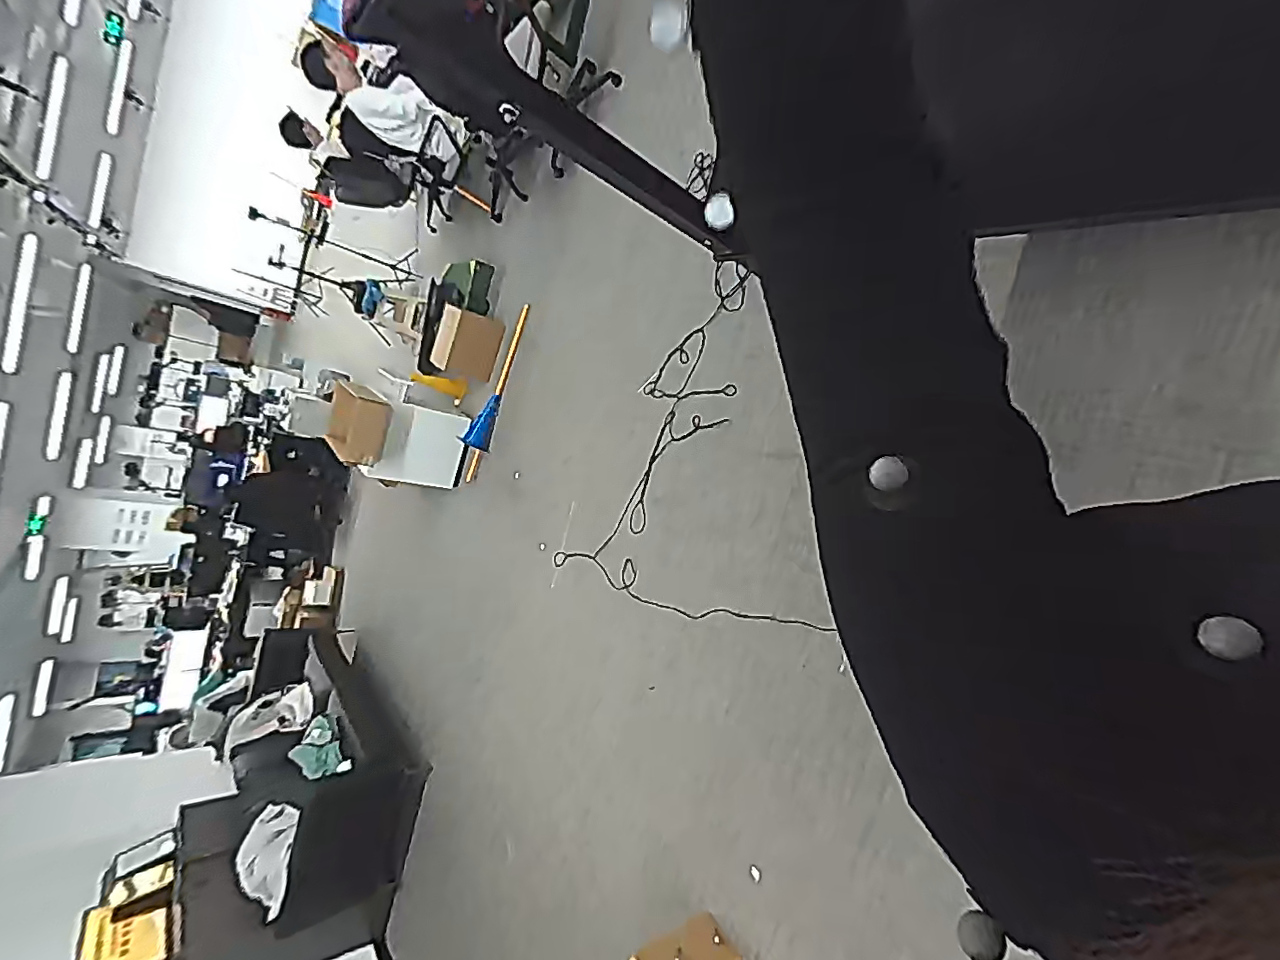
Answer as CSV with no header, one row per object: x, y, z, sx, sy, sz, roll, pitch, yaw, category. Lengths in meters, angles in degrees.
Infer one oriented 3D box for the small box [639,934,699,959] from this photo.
0.086,1.514,1.599,0.168,0.176,0.179,27,102,47,small box

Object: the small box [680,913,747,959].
0.210,1.534,1.706,0.168,0.176,0.179,29,103,47,small box
